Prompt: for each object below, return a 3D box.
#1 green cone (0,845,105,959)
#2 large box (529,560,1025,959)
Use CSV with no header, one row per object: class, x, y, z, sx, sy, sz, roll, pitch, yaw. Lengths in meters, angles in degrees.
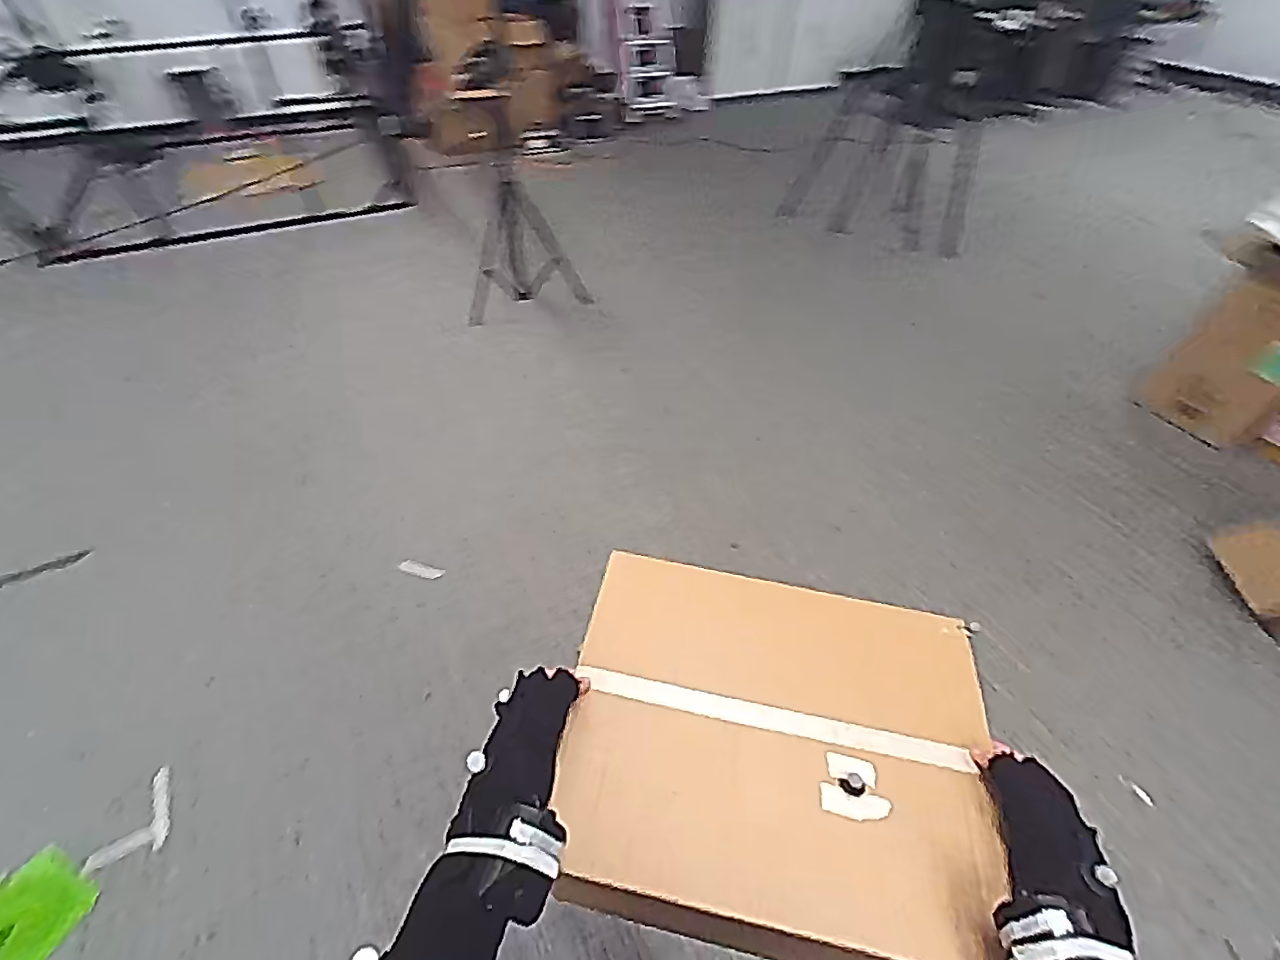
green cone,-1.272,0.791,1.010,0.202,0.368,0.200,18,48,17
large box,0.117,0.335,0.635,0.408,0.320,0.320,10,48,5
